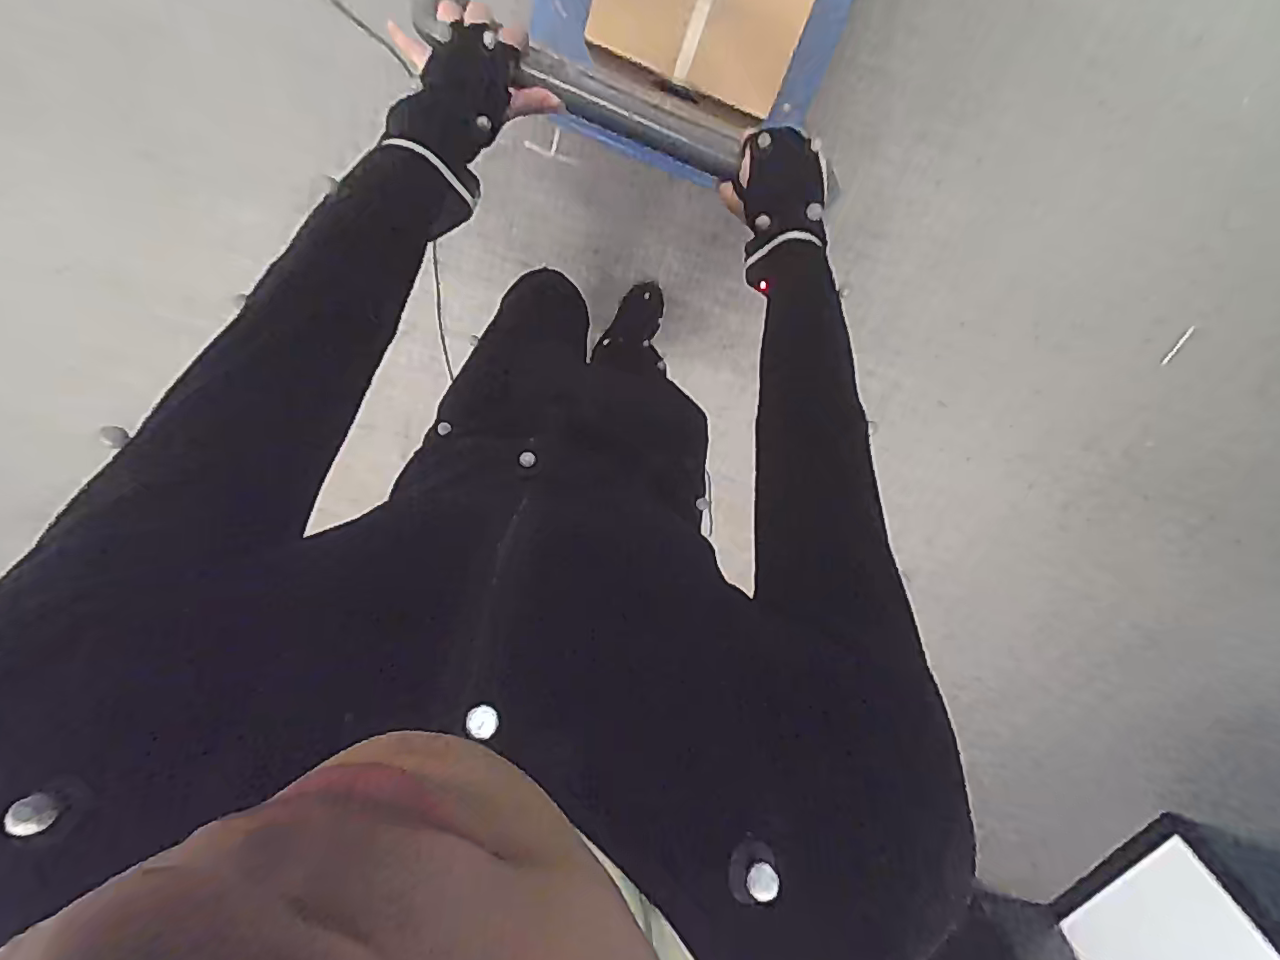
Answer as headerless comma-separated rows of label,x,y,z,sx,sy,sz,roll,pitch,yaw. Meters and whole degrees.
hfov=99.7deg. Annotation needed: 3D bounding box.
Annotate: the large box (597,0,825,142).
large box,0.145,-0.852,0.896,0.320,0.320,0.408,19,114,-8
